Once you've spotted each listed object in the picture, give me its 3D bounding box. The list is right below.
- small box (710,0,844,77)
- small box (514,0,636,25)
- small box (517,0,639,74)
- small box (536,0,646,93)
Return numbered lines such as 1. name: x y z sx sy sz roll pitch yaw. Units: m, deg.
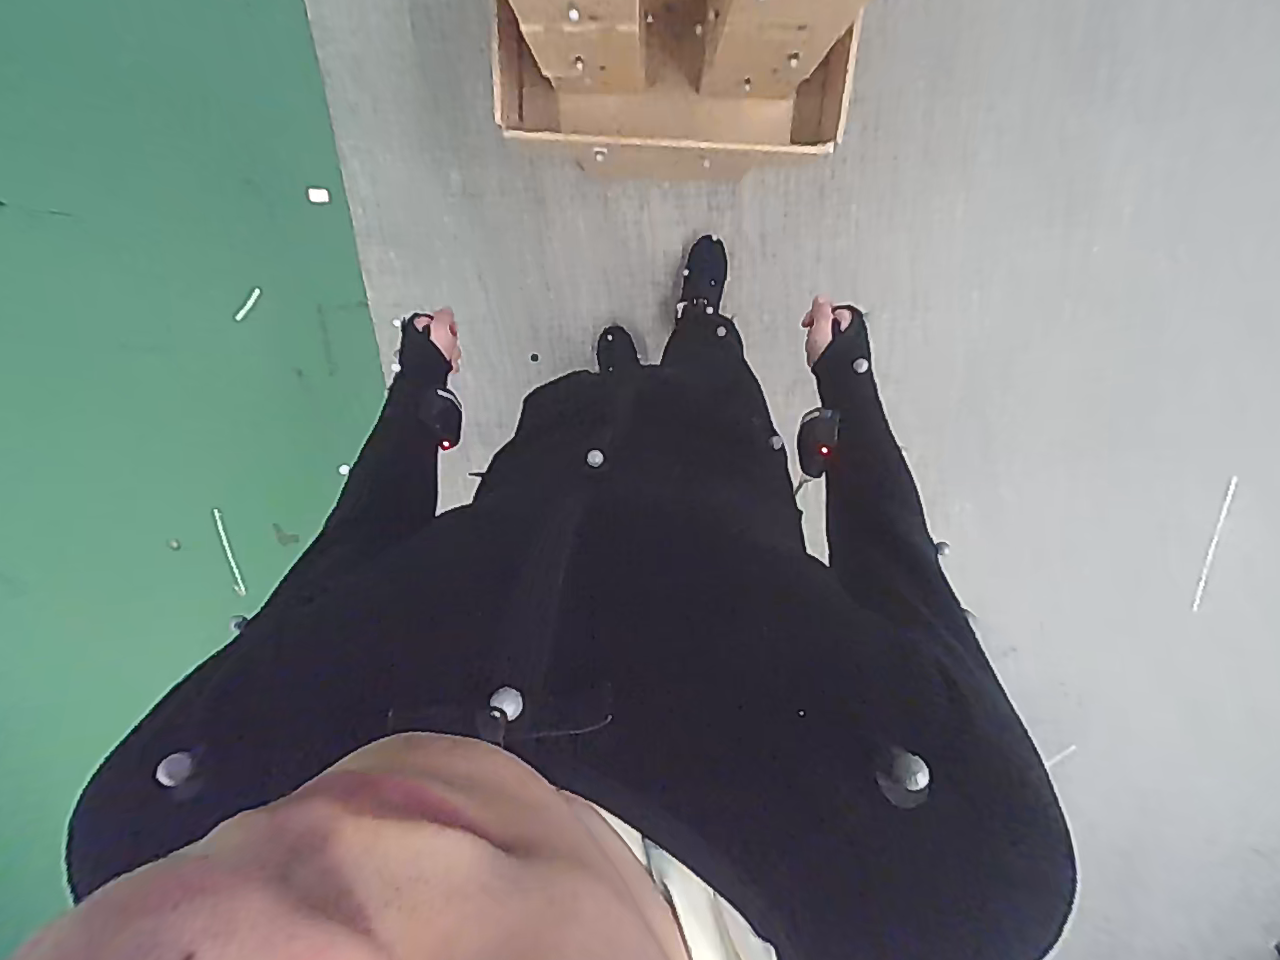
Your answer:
1. small box: 0.196 -0.716 0.783 0.168 0.176 0.179 3 109 -1
2. small box: -0.086 -0.675 0.628 0.168 0.176 0.179 1 110 0
3. small box: -0.086 -0.726 0.785 0.168 0.176 0.179 0 110 0
4. small box: -0.081 -0.791 0.933 0.179 0.176 0.168 1 110 1
